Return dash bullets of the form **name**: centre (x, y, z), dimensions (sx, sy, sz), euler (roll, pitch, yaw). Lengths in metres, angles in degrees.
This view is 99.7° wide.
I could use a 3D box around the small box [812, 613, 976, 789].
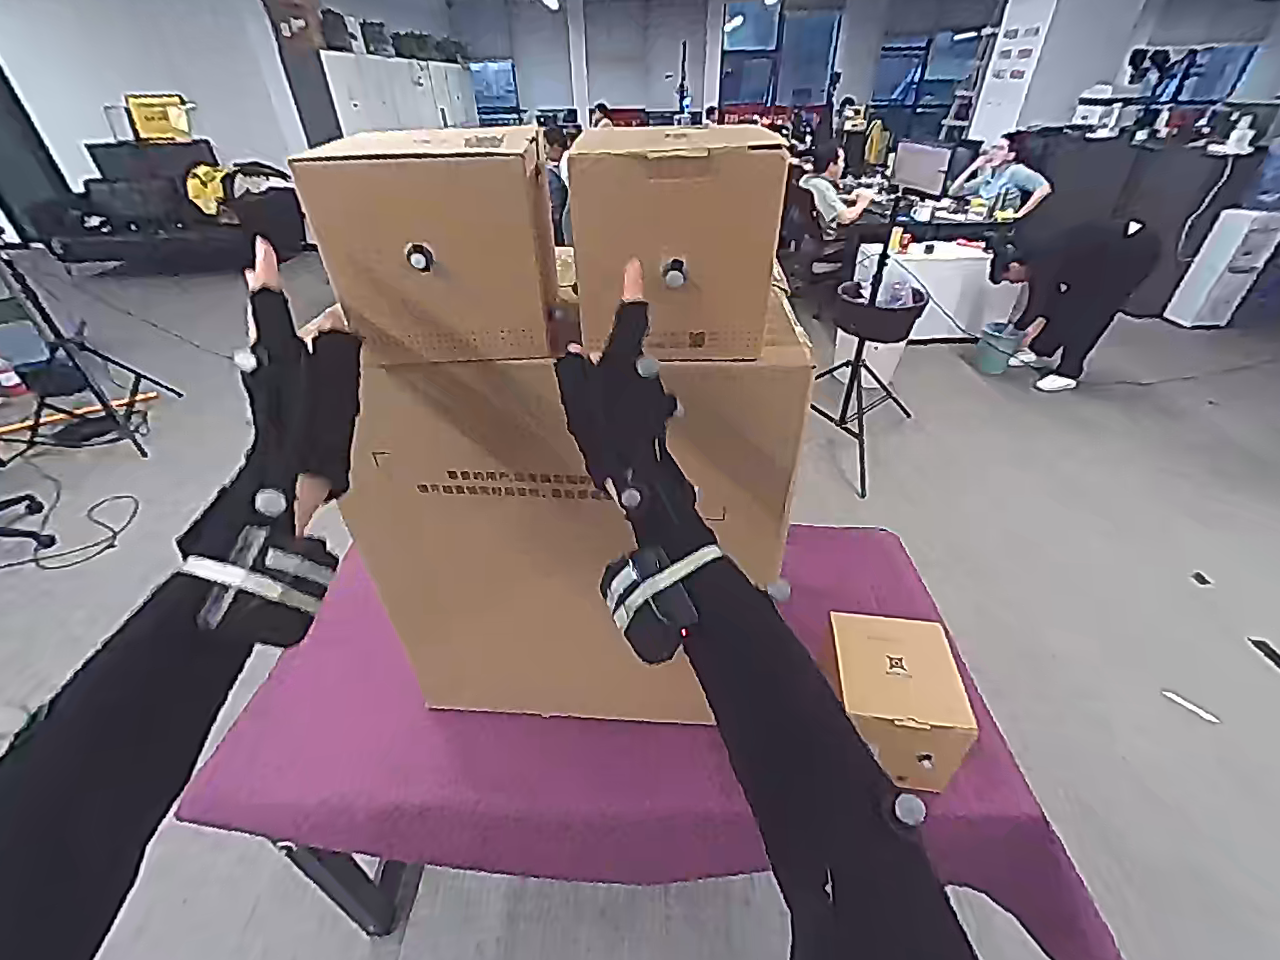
- **small box**: centre (0.362, 0.329, 0.808), dimensions (0.168, 0.176, 0.179), euler (5, 35, 7)
